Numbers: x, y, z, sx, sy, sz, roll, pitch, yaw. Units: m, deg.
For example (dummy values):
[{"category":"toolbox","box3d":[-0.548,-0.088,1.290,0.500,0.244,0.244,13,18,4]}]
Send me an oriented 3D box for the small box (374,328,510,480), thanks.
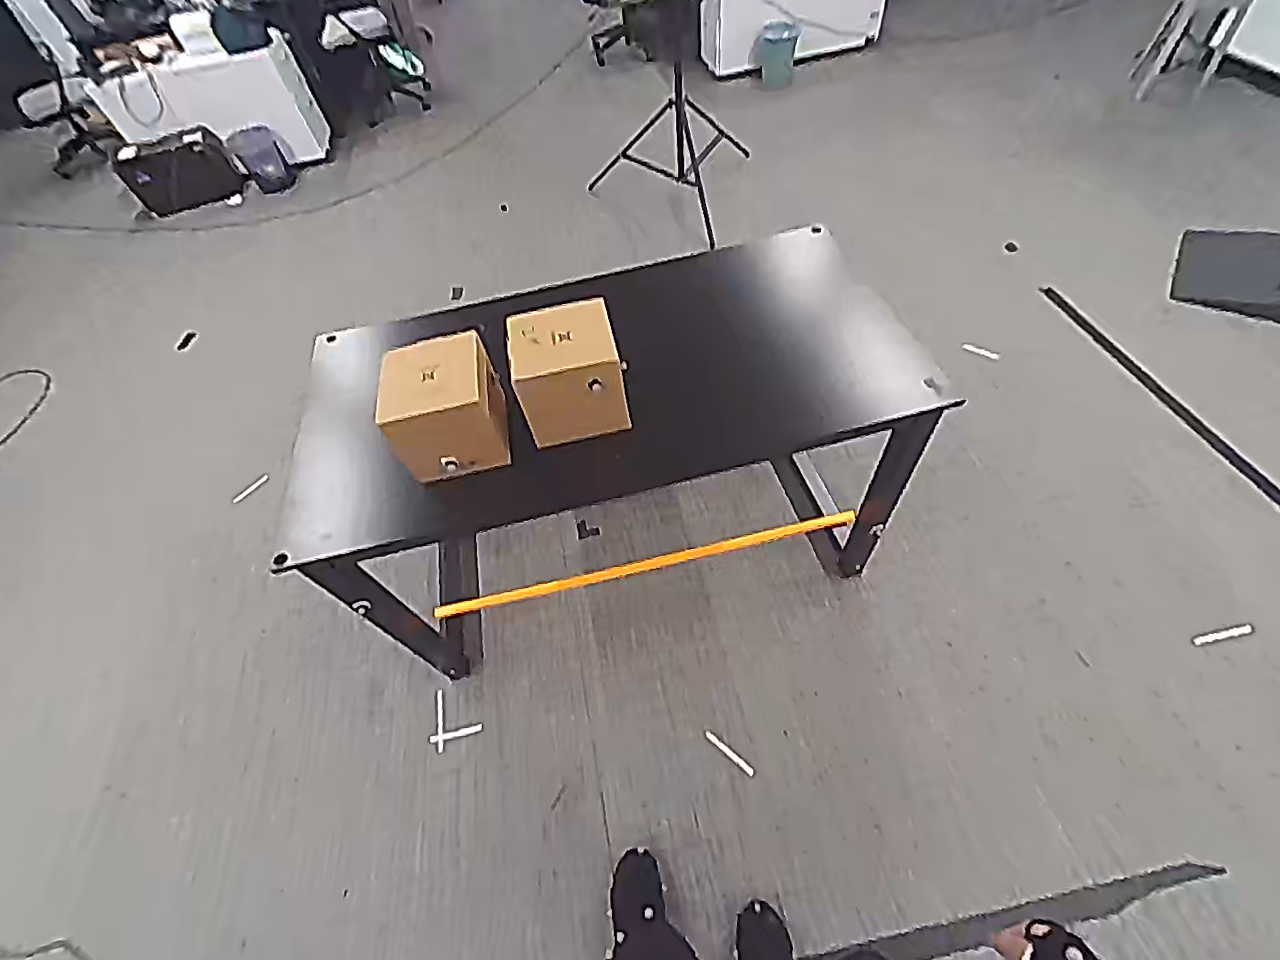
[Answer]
[{"category":"small box","box3d":[-0.334,-0.128,0.938,0.168,0.176,0.179,-15,55,-1]}]
